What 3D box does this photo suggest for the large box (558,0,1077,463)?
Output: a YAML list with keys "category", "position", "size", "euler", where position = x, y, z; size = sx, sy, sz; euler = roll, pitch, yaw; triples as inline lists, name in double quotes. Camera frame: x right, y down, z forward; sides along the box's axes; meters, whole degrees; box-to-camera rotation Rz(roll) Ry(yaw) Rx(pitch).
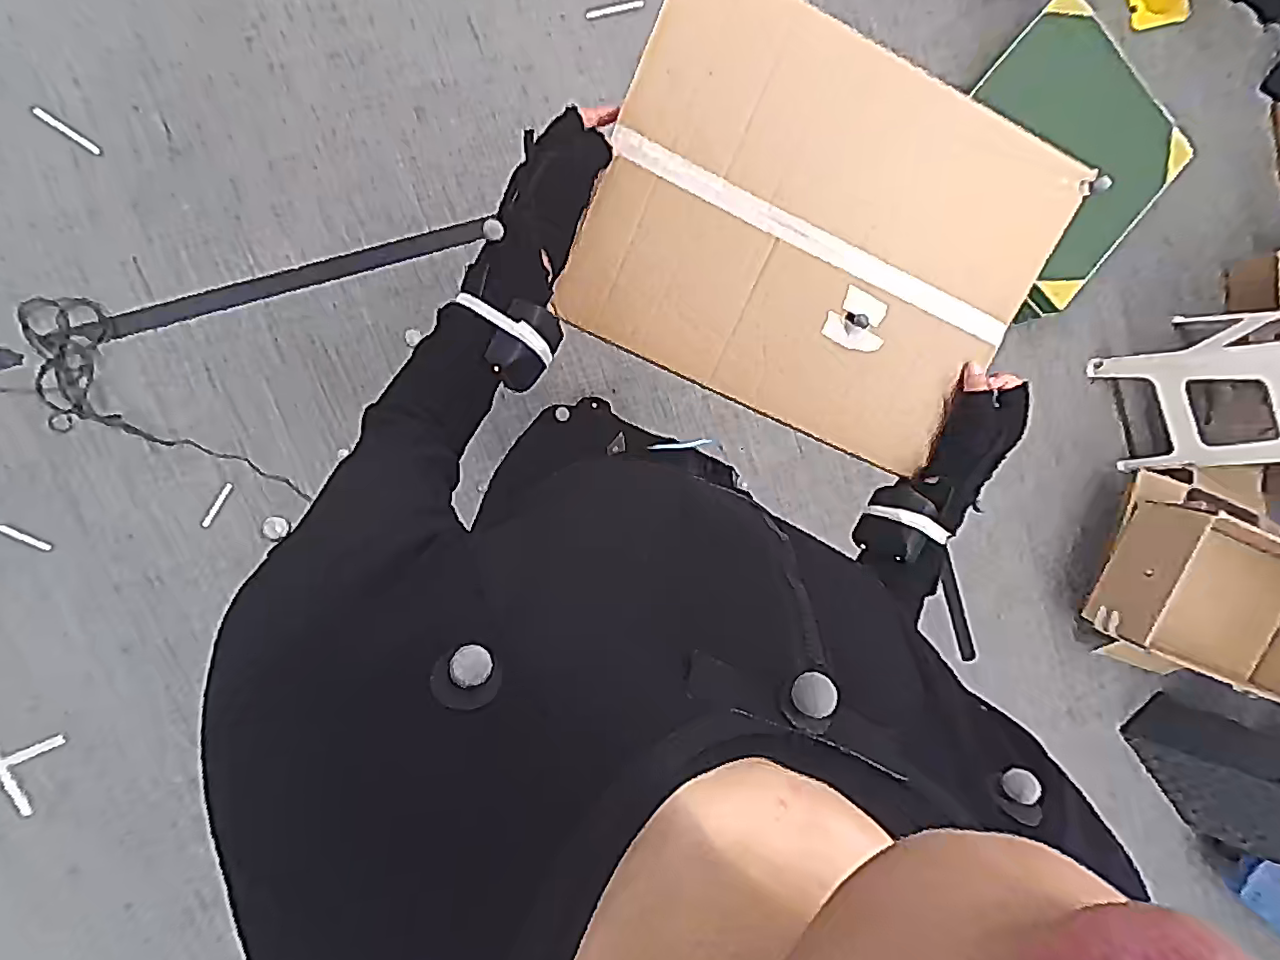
- category: "large box"
  position: [0.153, -0.263, 0.643]
  size: [0.408, 0.320, 0.320]
  euler: [24, 104, -9]
